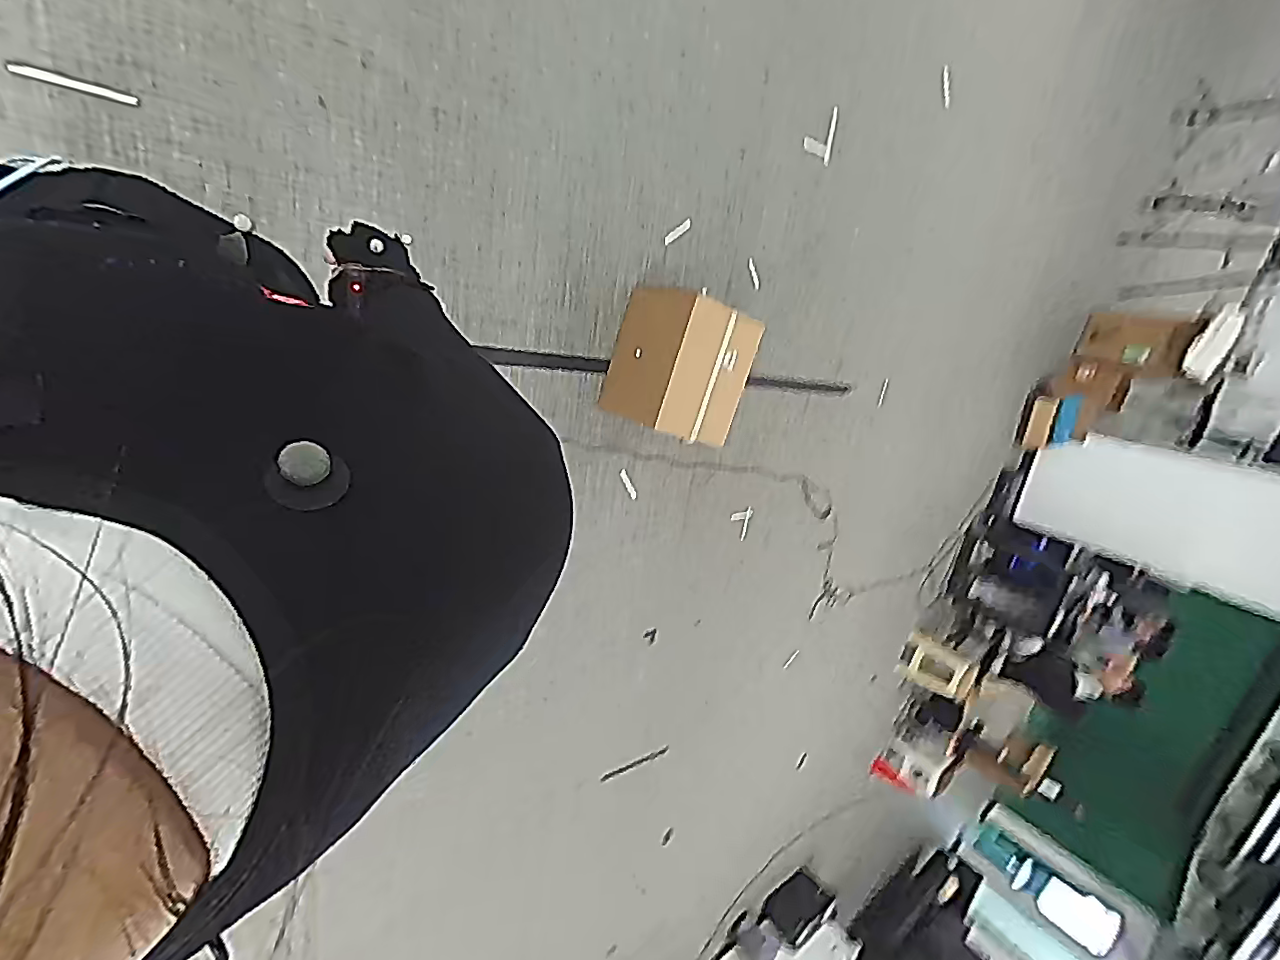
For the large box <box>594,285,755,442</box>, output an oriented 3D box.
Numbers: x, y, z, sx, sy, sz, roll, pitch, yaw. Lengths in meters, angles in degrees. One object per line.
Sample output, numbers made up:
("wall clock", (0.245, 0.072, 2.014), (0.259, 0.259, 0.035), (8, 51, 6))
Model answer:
("large box", (0.100, -0.365, 1.711), (0.320, 0.320, 0.408), (9, 102, -42))
